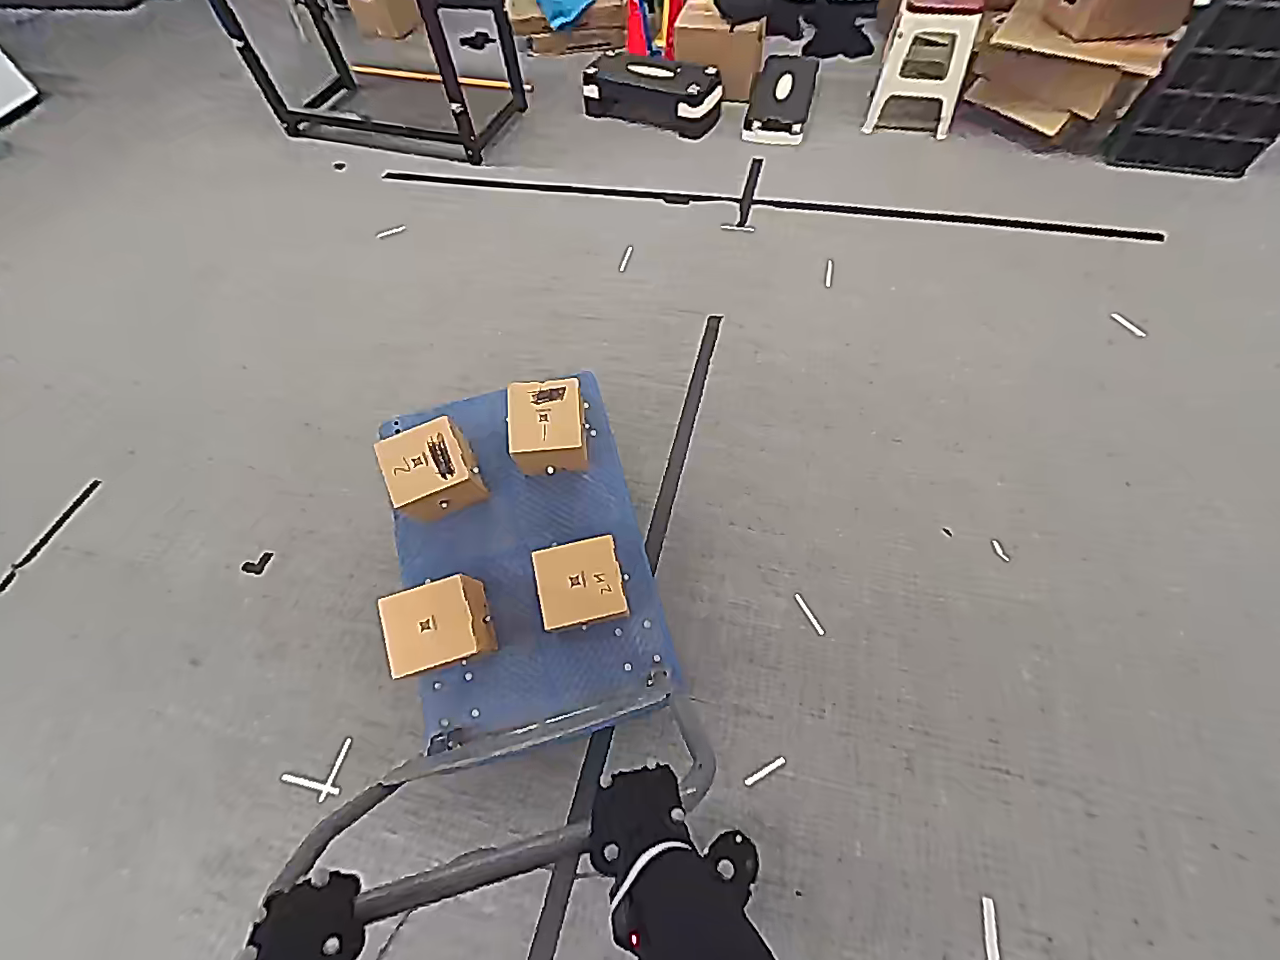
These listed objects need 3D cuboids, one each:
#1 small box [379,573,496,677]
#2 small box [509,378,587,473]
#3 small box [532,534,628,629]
[{"bbox_3d":[-0.431,0.315,1.168,0.179,0.176,0.168,-17,74,-8],"label":"small box"},{"bbox_3d":[-0.219,-0.128,1.304,0.168,0.176,0.179,-5,74,-2],"label":"small box"},{"bbox_3d":[-0.127,0.231,1.197,0.179,0.176,0.168,-12,74,-4],"label":"small box"}]
